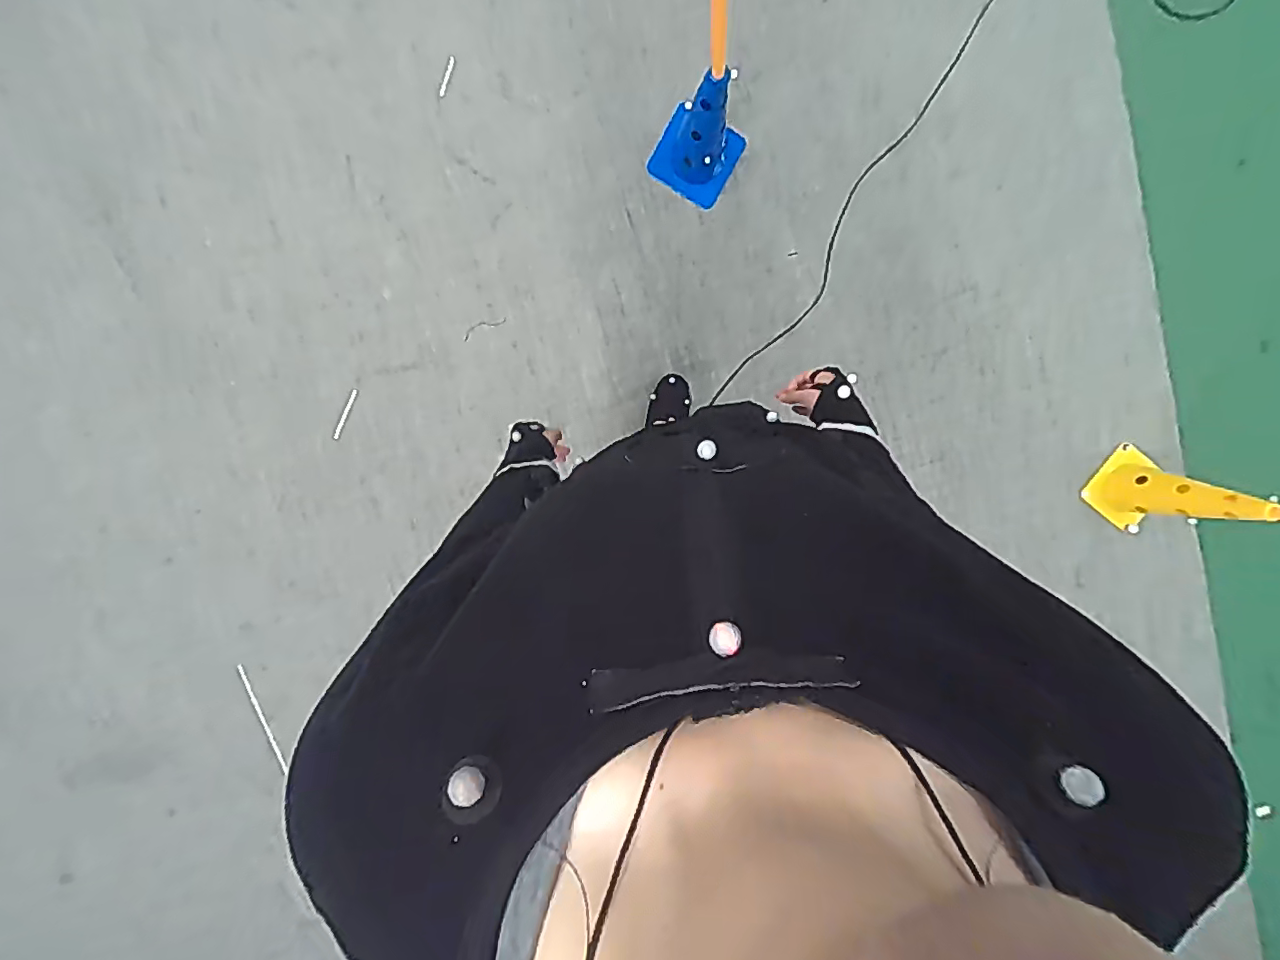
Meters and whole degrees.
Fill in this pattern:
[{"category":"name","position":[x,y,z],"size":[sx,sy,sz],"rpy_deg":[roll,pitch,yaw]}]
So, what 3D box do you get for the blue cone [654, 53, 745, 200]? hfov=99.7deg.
[{"category":"blue cone","position":[0.147,-0.796,1.194],"size":[0.193,0.380,0.192],"rpy_deg":[28,97,-4]}]
